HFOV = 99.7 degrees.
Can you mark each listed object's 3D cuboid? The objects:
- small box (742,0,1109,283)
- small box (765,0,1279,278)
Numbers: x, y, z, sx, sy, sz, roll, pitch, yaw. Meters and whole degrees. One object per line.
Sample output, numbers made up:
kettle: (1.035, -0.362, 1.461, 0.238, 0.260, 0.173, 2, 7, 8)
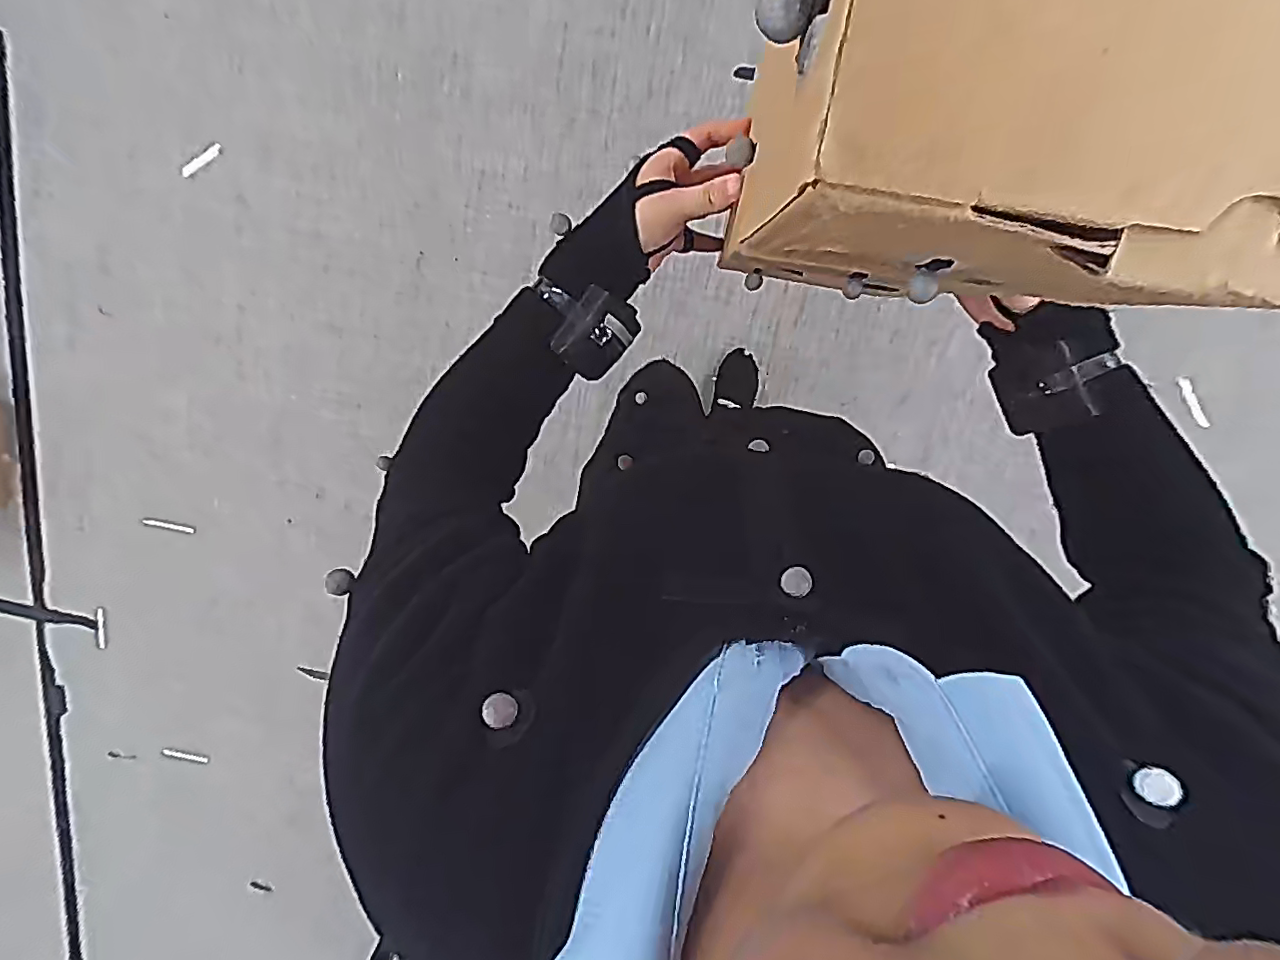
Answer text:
small box: (0.155, -0.210, 0.293, 0.168, 0.176, 0.179, 9, 110, 1)
small box: (0.137, -0.156, 0.140, 0.168, 0.176, 0.179, 9, 111, 2)
